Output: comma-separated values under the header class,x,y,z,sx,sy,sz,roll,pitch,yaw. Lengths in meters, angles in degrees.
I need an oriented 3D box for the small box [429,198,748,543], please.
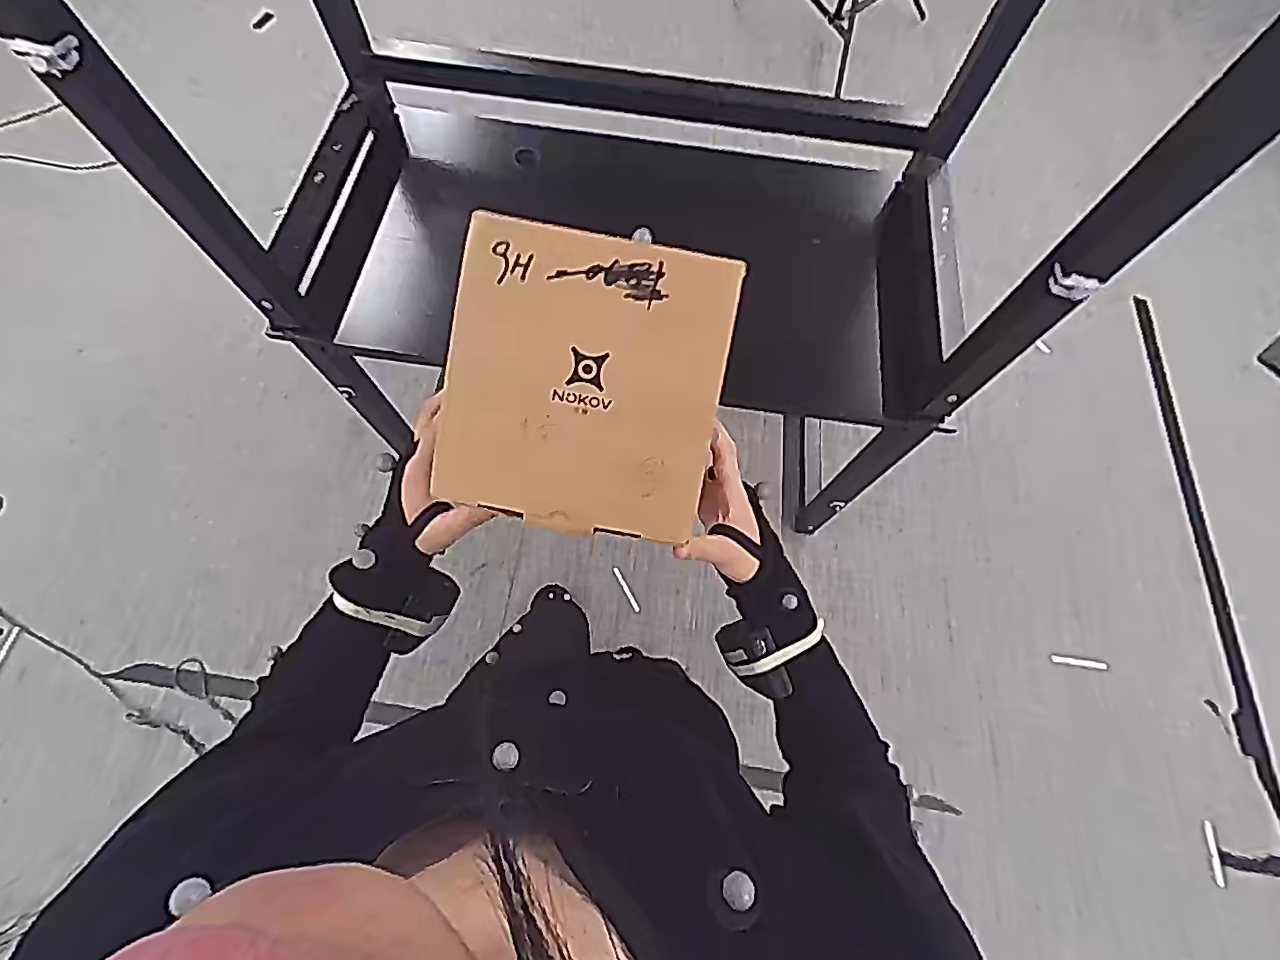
class,x,y,z,sx,sy,sz,roll,pitch,yaw
small box,-0.033,-0.070,0.397,0.168,0.176,0.179,11,97,-2
